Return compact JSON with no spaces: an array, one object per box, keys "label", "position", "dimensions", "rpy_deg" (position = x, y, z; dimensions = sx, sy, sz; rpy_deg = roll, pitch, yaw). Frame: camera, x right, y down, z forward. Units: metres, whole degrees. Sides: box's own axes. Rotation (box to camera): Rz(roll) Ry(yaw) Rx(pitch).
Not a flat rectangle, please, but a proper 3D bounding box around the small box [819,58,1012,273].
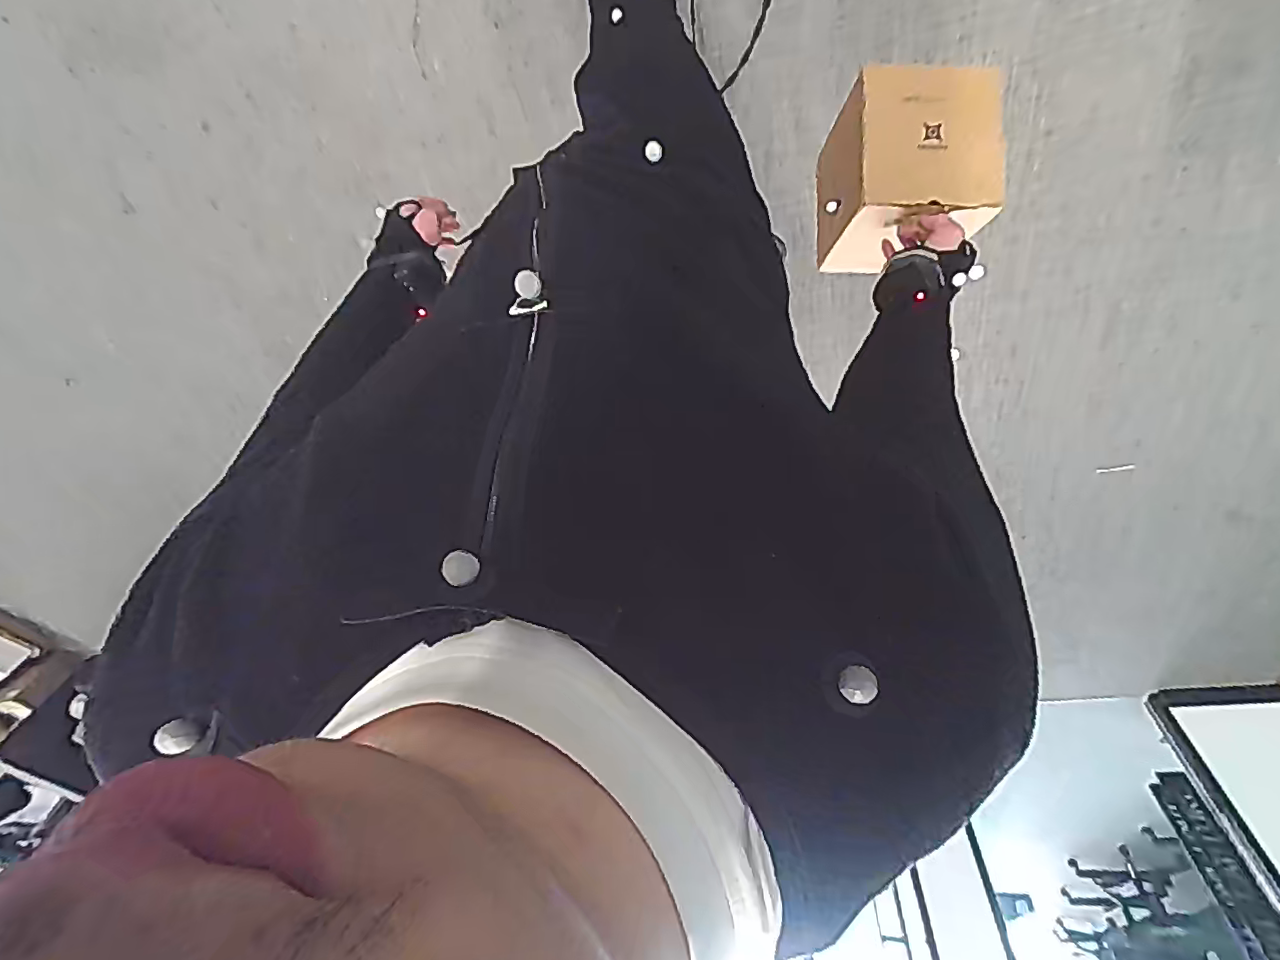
[{"label":"small box","position":[0.342,-0.389,0.698],"dimensions":[0.168,0.179,0.176],"rpy_deg":[4,172,-2]}]
